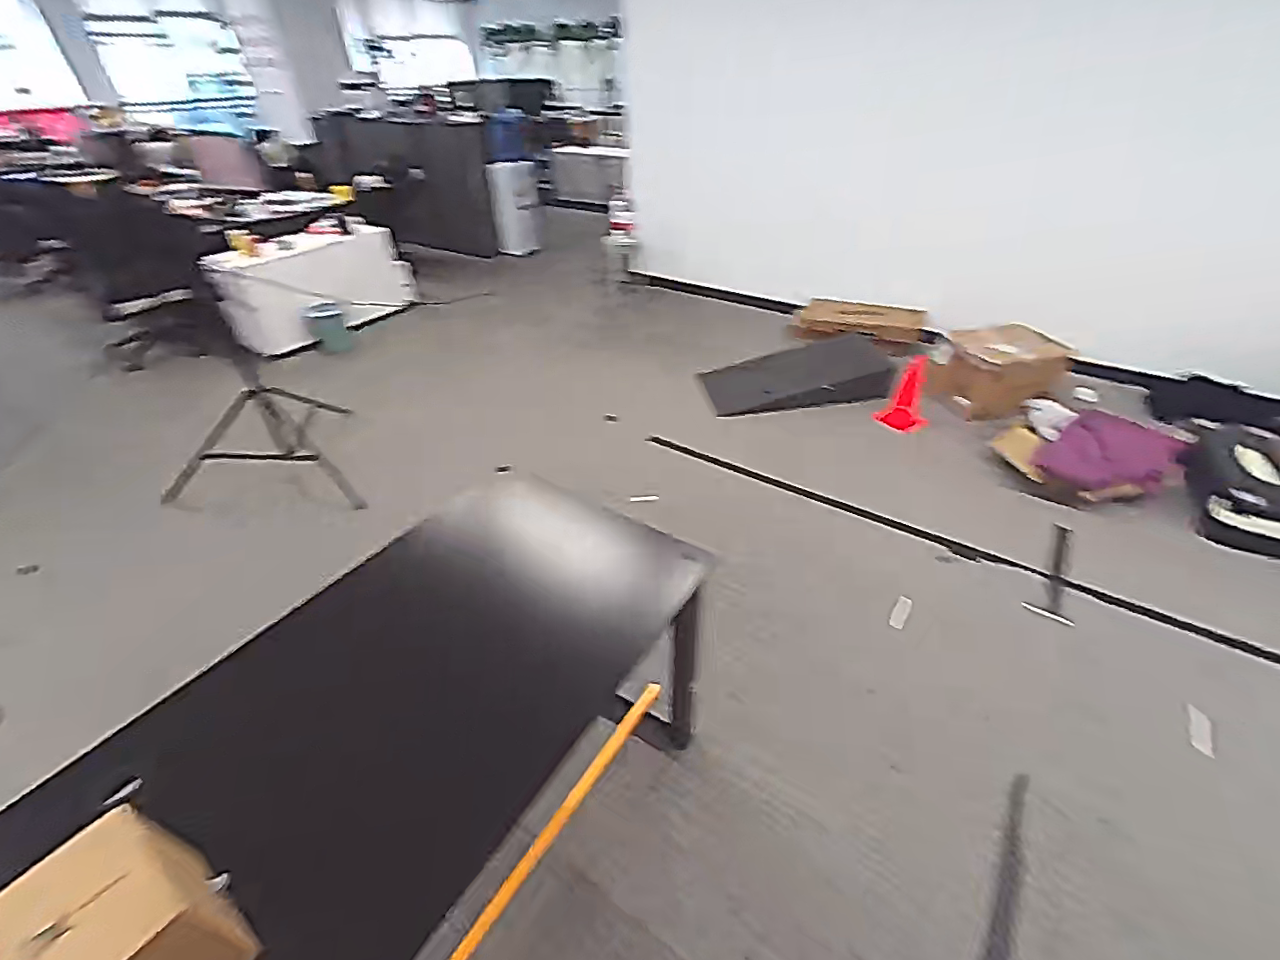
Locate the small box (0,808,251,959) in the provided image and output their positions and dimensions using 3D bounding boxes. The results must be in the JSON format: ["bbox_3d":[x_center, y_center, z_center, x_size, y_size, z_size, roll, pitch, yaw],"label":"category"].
[{"bbox_3d":[-0.555,0.495,0.553,0.168,0.176,0.179,22,43,27],"label":"small box"}]
